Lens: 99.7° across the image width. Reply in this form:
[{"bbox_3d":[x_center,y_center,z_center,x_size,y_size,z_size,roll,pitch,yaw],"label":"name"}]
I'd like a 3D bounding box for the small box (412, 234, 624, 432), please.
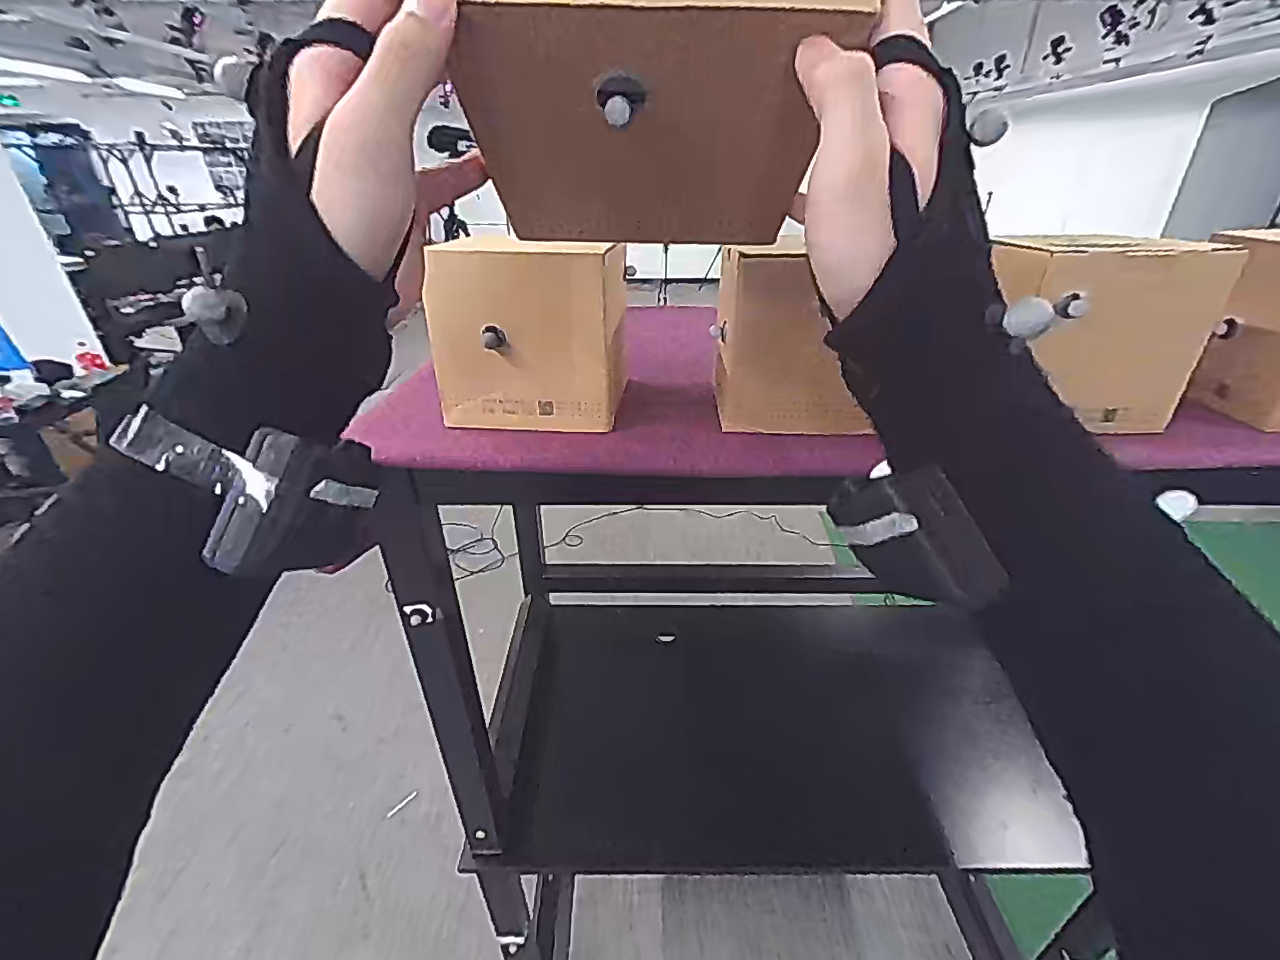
[{"bbox_3d":[-0.106,-0.157,0.564,0.168,0.176,0.179,1,28,4],"label":"small box"}]

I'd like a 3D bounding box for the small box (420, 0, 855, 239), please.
[{"bbox_3d":[0.001,-0.252,0.295,0.179,0.168,0.176,0,-6,0],"label":"small box"}]

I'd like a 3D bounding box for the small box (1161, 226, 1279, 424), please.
[{"bbox_3d":[0.694,-0.159,0.549,0.179,0.176,0.168,1,31,5],"label":"small box"}]
